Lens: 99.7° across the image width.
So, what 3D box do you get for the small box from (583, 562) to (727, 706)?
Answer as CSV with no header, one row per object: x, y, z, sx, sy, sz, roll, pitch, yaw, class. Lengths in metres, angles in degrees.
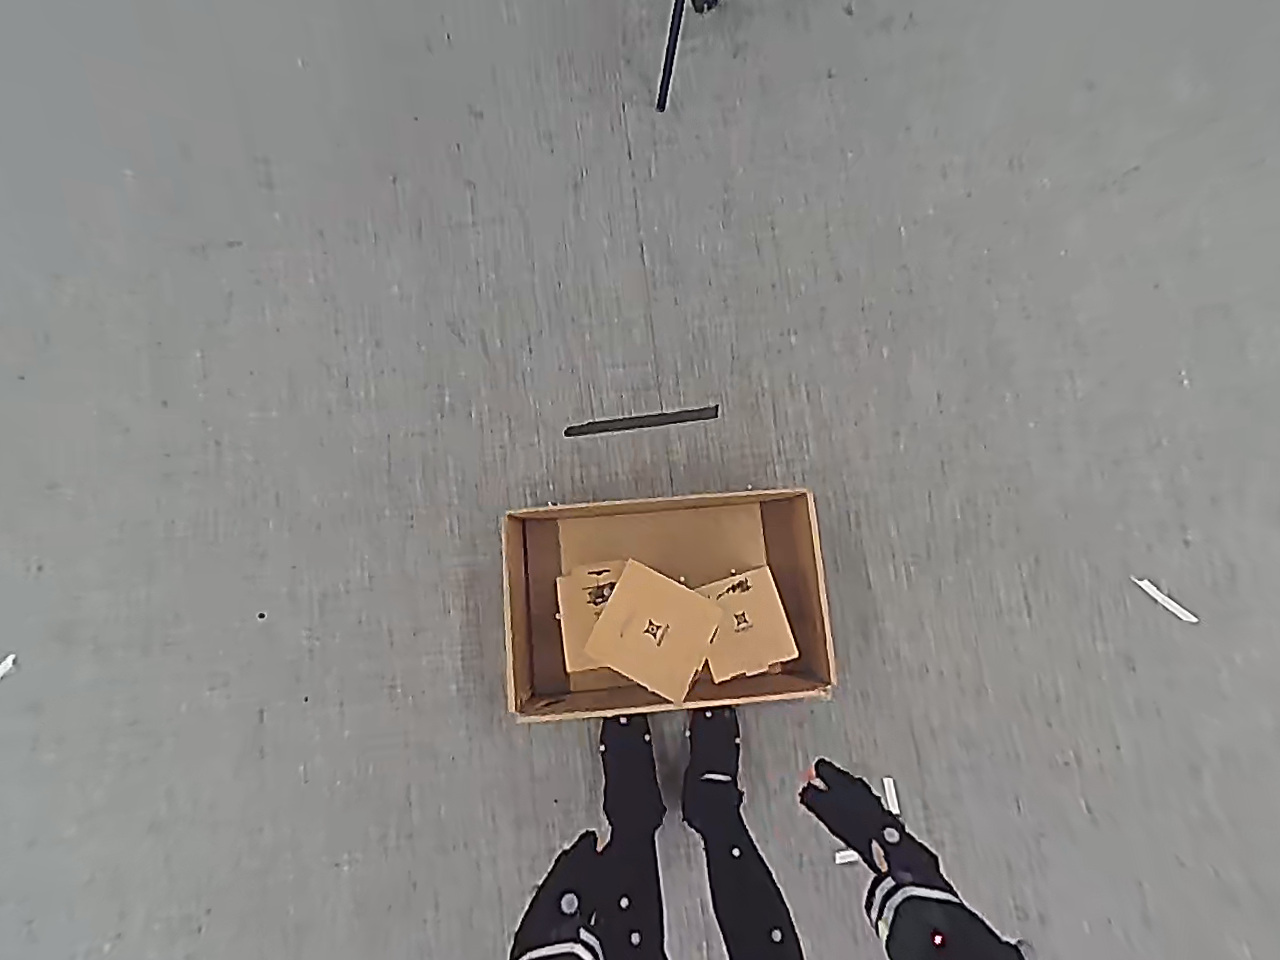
0.024,0.252,0.920,0.179,0.176,0.168,26,79,5,small box
